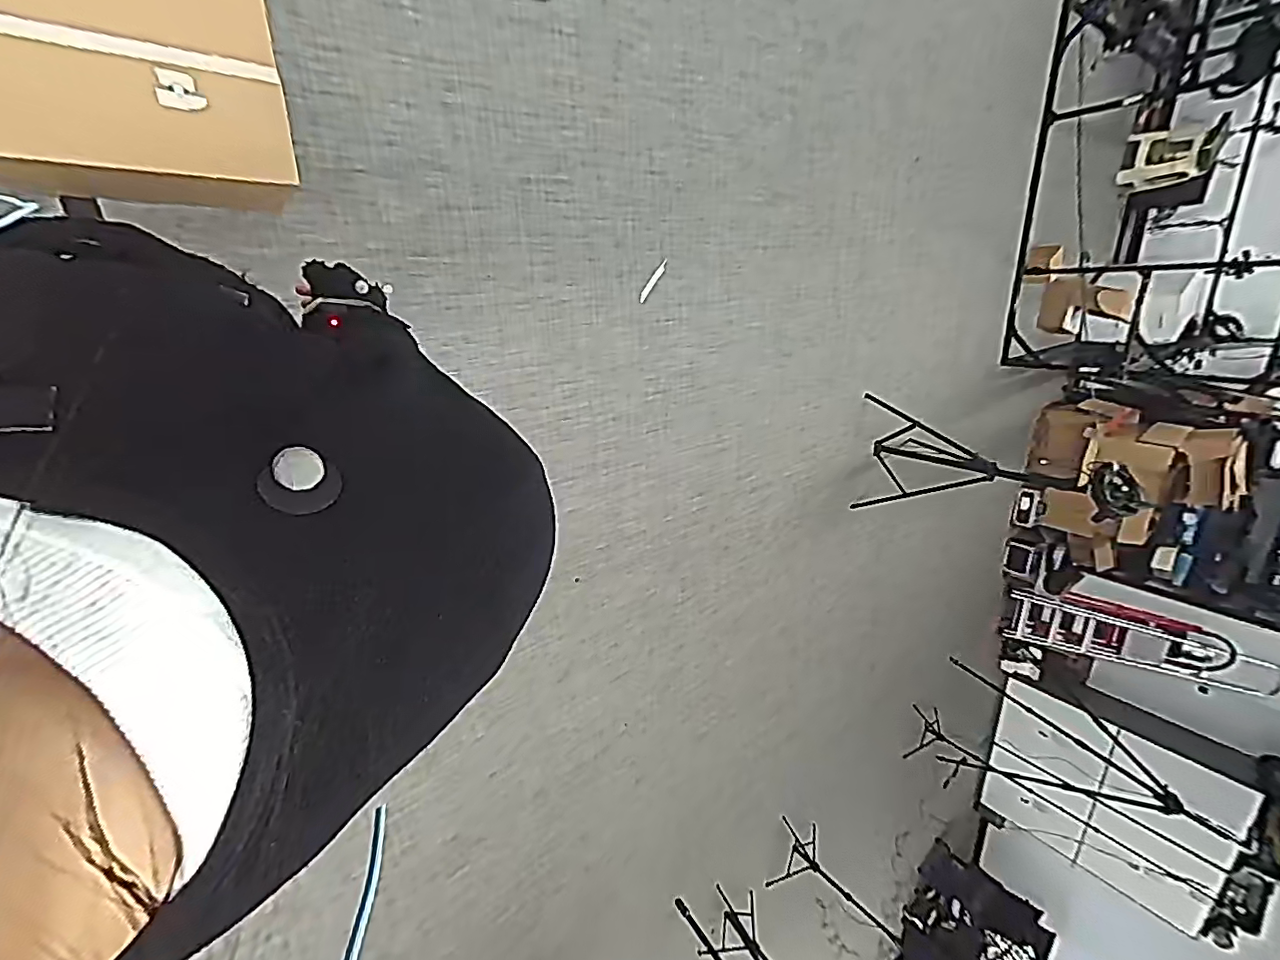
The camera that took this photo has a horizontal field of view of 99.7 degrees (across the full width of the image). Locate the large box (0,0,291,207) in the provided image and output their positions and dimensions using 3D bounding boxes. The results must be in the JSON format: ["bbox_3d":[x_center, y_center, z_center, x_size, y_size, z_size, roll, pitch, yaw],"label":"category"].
[{"bbox_3d":[-0.844,-0.640,0.863,0.408,0.320,0.320,-16,113,-36],"label":"large box"}]
